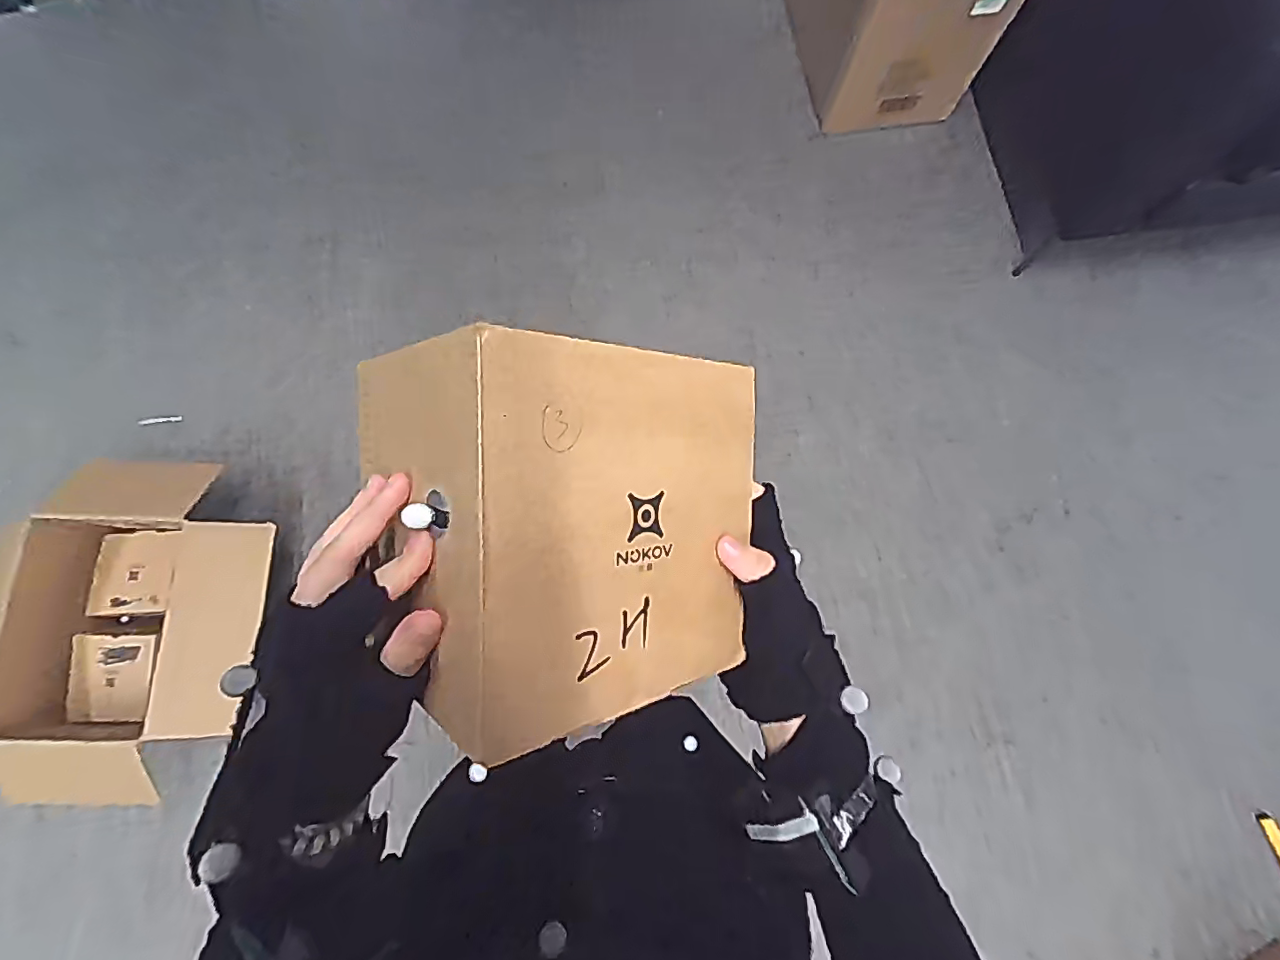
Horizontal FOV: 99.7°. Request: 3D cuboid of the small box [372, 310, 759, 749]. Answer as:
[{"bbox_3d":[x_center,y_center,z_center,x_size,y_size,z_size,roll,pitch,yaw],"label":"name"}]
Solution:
[{"bbox_3d":[-0.049,0.015,0.320,0.168,0.176,0.179,-2,95,-41],"label":"small box"}]
